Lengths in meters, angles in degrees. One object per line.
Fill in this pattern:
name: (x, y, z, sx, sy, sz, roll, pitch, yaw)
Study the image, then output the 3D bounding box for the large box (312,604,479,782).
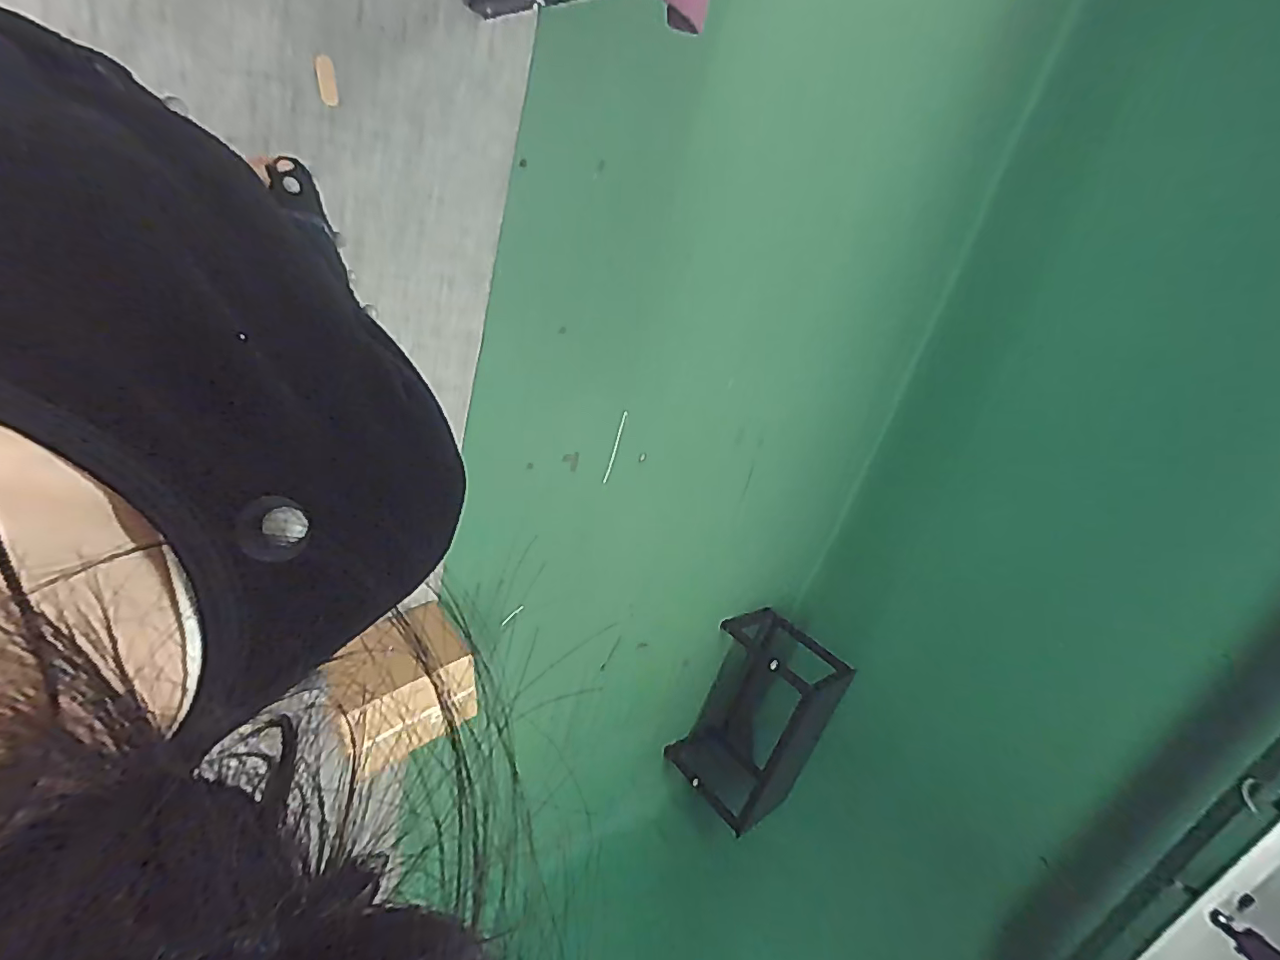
large box: (-0.801, 0.685, 1.798, 0.408, 0.320, 0.320, -20, 130, -37)
